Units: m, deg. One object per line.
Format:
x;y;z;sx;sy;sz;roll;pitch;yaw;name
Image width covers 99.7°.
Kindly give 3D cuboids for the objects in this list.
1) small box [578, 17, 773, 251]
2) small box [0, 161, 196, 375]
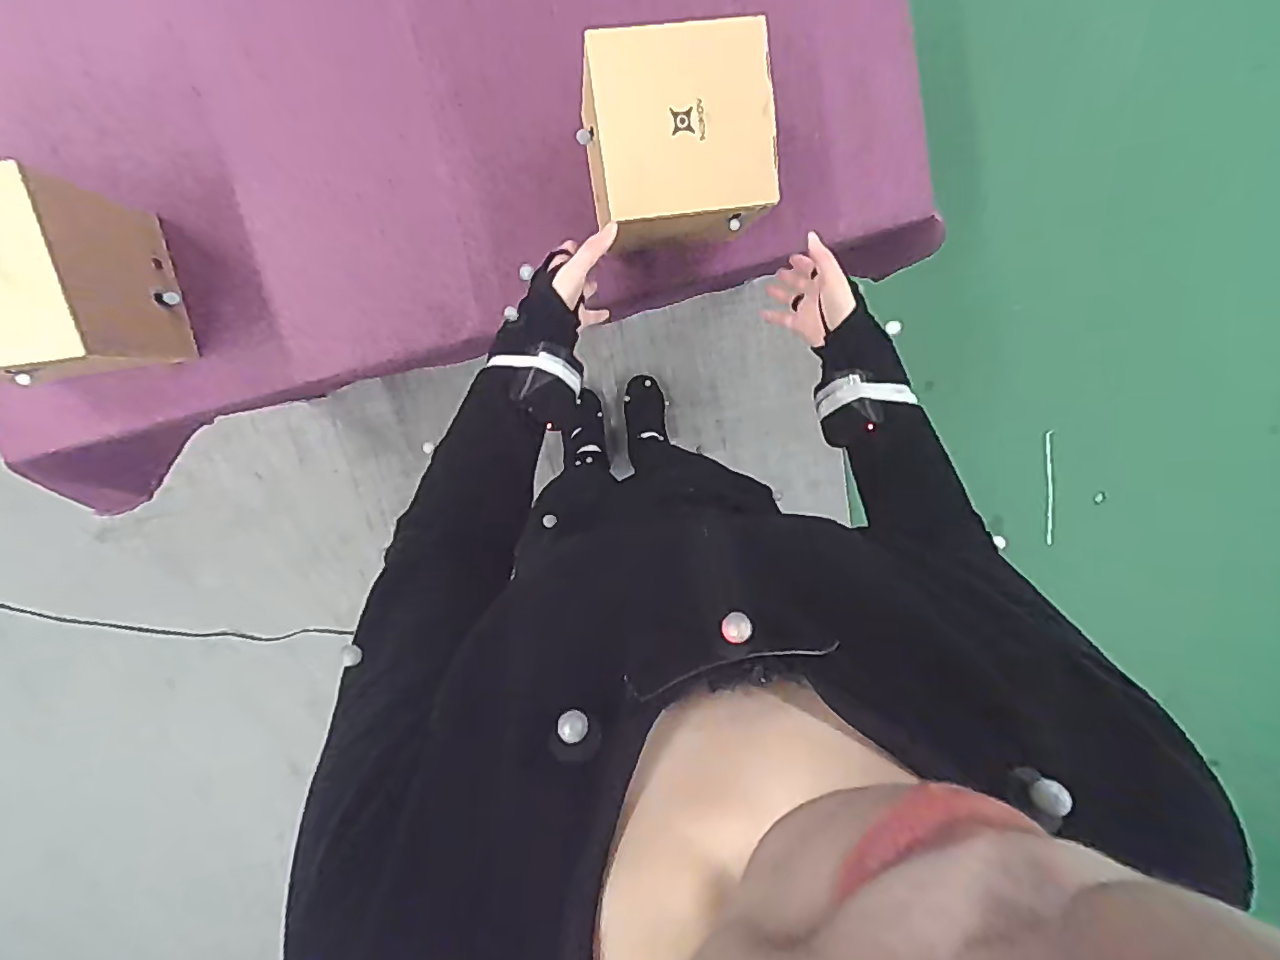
0.029;-0.362;0.597;0.179;0.176;0.168;-10;103;-6;small box
-0.613;-0.197;0.546;0.179;0.176;0.168;-9;104;-6;small box
